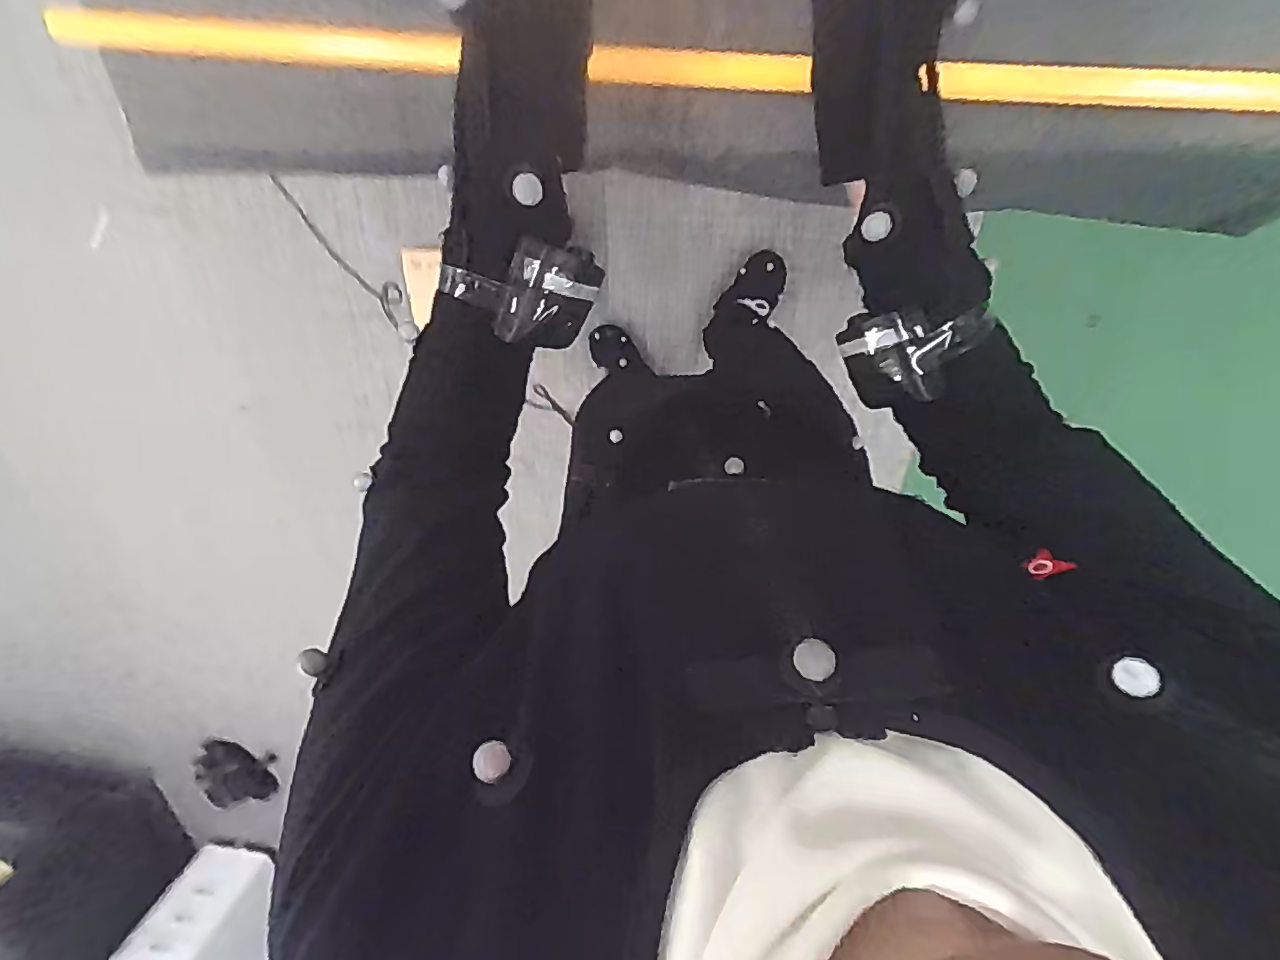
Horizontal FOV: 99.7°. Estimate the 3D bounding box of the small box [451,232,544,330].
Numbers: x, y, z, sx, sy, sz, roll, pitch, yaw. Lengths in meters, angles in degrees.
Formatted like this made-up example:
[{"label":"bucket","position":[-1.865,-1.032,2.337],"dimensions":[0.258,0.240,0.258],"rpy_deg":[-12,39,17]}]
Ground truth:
[{"label":"small box","position":[-0.333,-0.476,1.279],"dimensions":[0.168,0.176,0.179],"rpy_deg":[13,121,4]}]
